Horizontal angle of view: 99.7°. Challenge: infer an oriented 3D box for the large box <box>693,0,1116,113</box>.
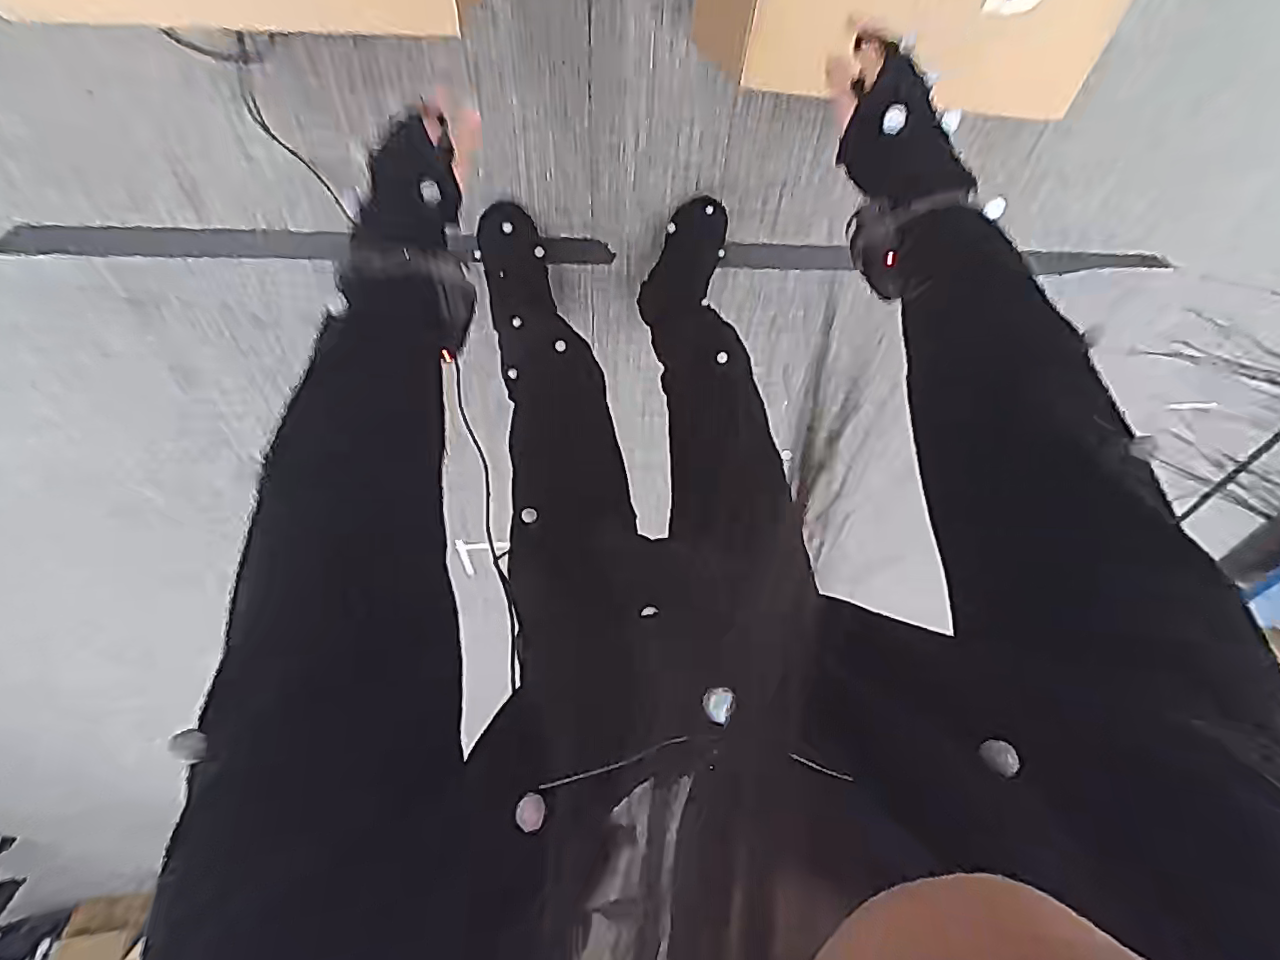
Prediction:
[{"bbox_3d":[0.303,-0.653,0.624,0.408,0.320,0.320,-1,136,-10],"label":"large box"}]
